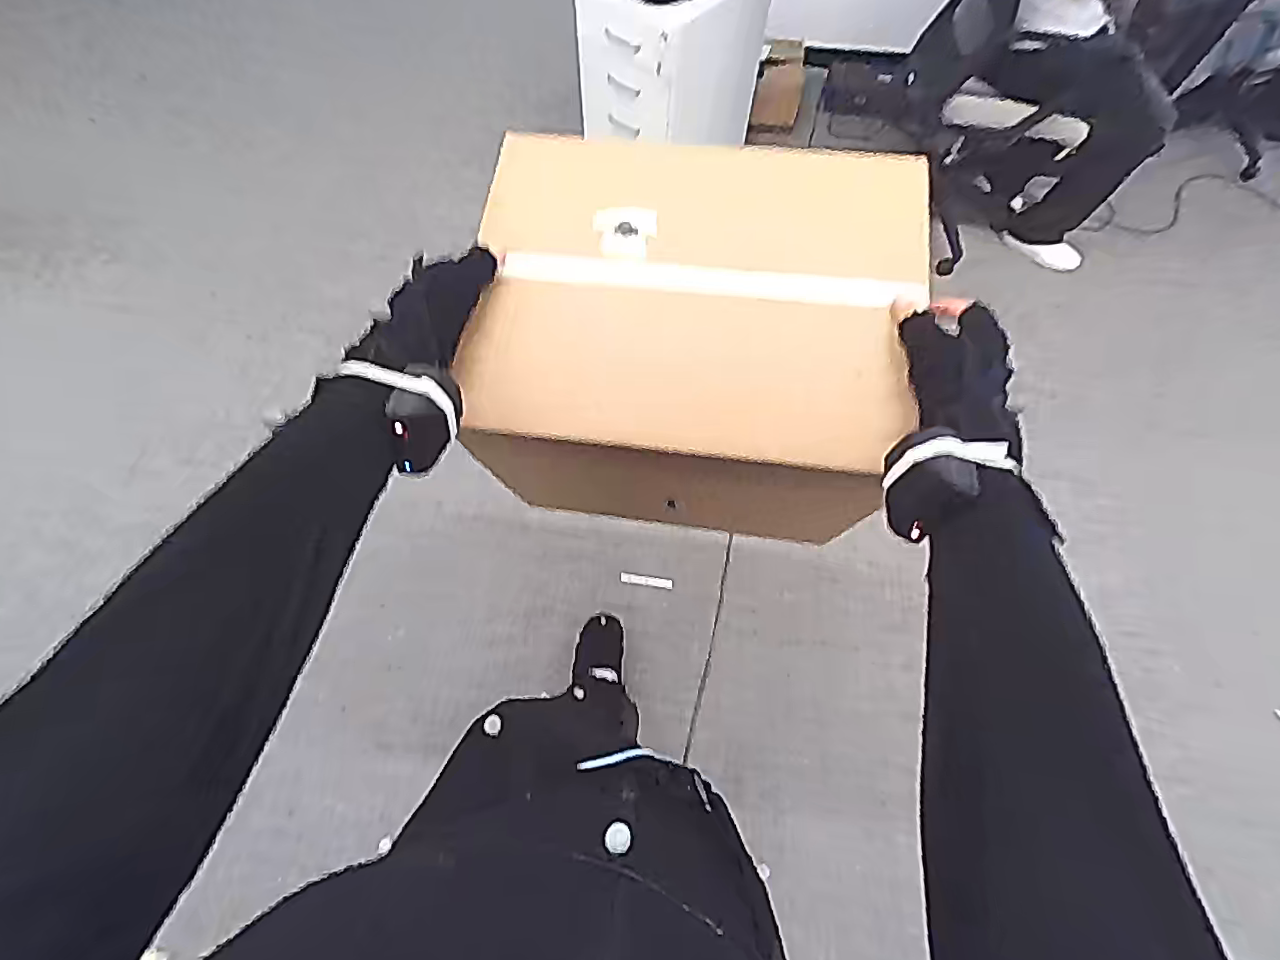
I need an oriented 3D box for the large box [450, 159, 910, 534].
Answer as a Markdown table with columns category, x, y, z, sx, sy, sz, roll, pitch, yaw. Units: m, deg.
| category | x | y | z | sx | sy | sz | roll | pitch | yaw |
| --- | --- | --- | --- | --- | --- | --- | --- | --- | --- |
| large box | 0.057 | -0.129 | 0.645 | 0.408 | 0.320 | 0.320 | 7 | 73 | 7 |
